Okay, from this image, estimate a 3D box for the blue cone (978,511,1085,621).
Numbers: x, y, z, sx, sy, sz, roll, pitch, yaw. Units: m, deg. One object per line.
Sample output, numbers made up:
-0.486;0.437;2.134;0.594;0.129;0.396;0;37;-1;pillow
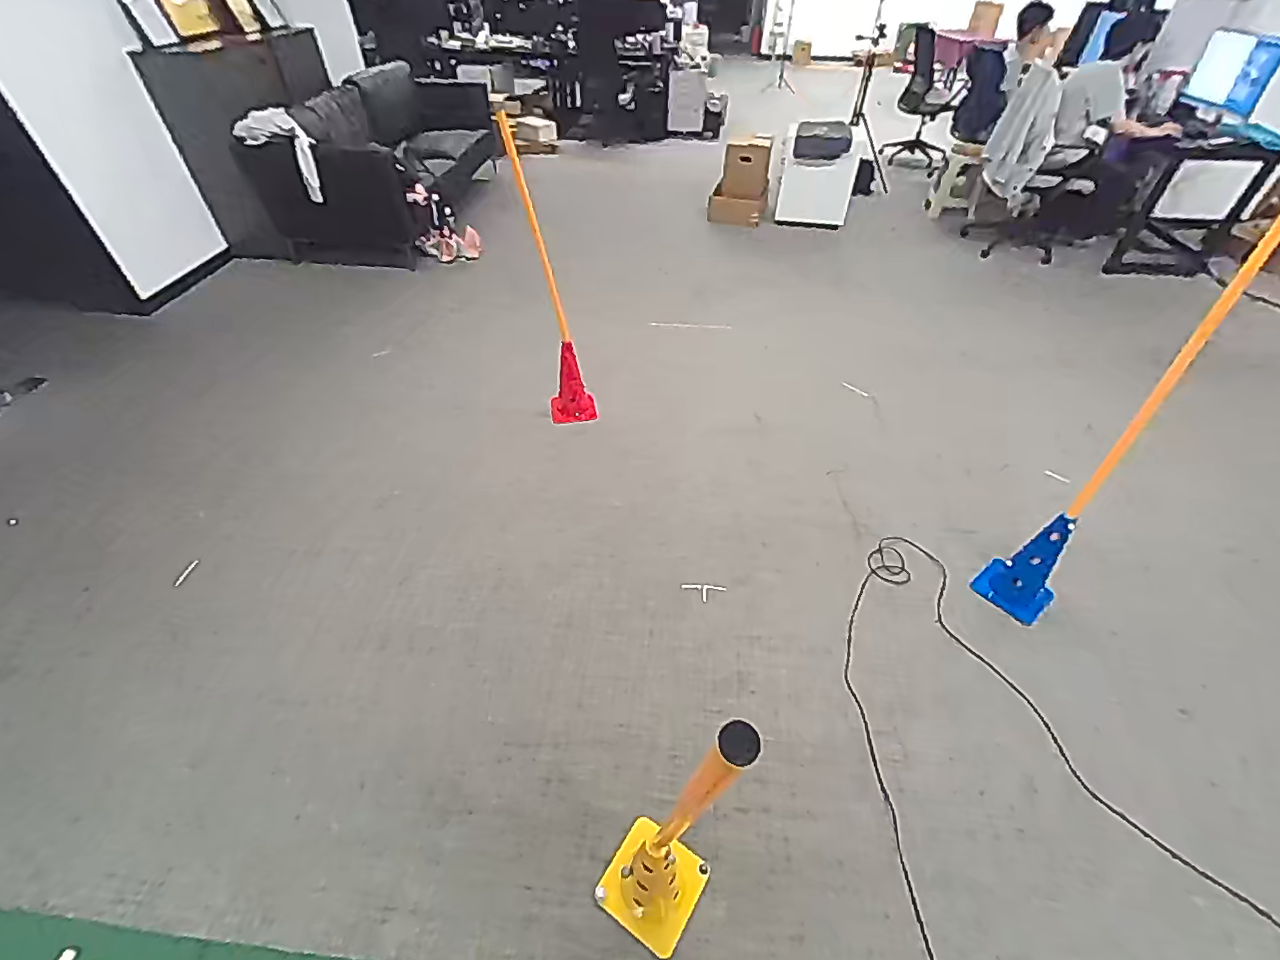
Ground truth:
1.237;0.235;1.670;0.193;0.380;0.192;-29;50;-30;blue cone
